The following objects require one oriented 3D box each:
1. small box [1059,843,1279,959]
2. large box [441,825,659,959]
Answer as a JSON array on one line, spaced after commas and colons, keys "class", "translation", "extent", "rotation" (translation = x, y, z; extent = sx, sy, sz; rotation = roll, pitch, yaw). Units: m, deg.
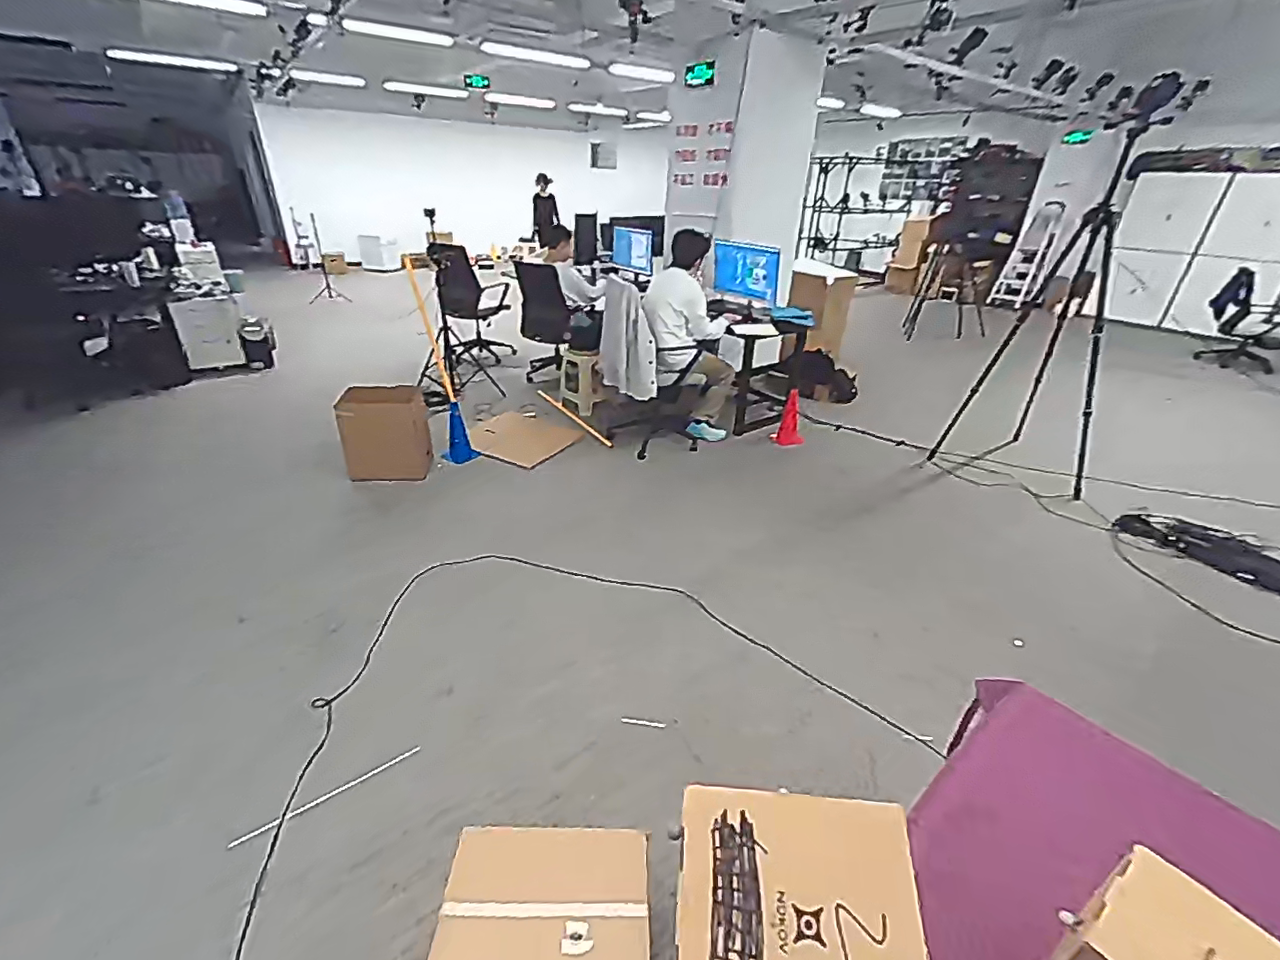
[{"class": "small box", "translation": [0.558, 0.539, 0.554], "extent": [0.168, 0.176, 0.179], "rotation": [-18, 34, -30]}, {"class": "large box", "translation": [-0.172, 0.963, 1.124], "extent": [0.408, 0.320, 0.320], "rotation": [2, 30, -1]}]
